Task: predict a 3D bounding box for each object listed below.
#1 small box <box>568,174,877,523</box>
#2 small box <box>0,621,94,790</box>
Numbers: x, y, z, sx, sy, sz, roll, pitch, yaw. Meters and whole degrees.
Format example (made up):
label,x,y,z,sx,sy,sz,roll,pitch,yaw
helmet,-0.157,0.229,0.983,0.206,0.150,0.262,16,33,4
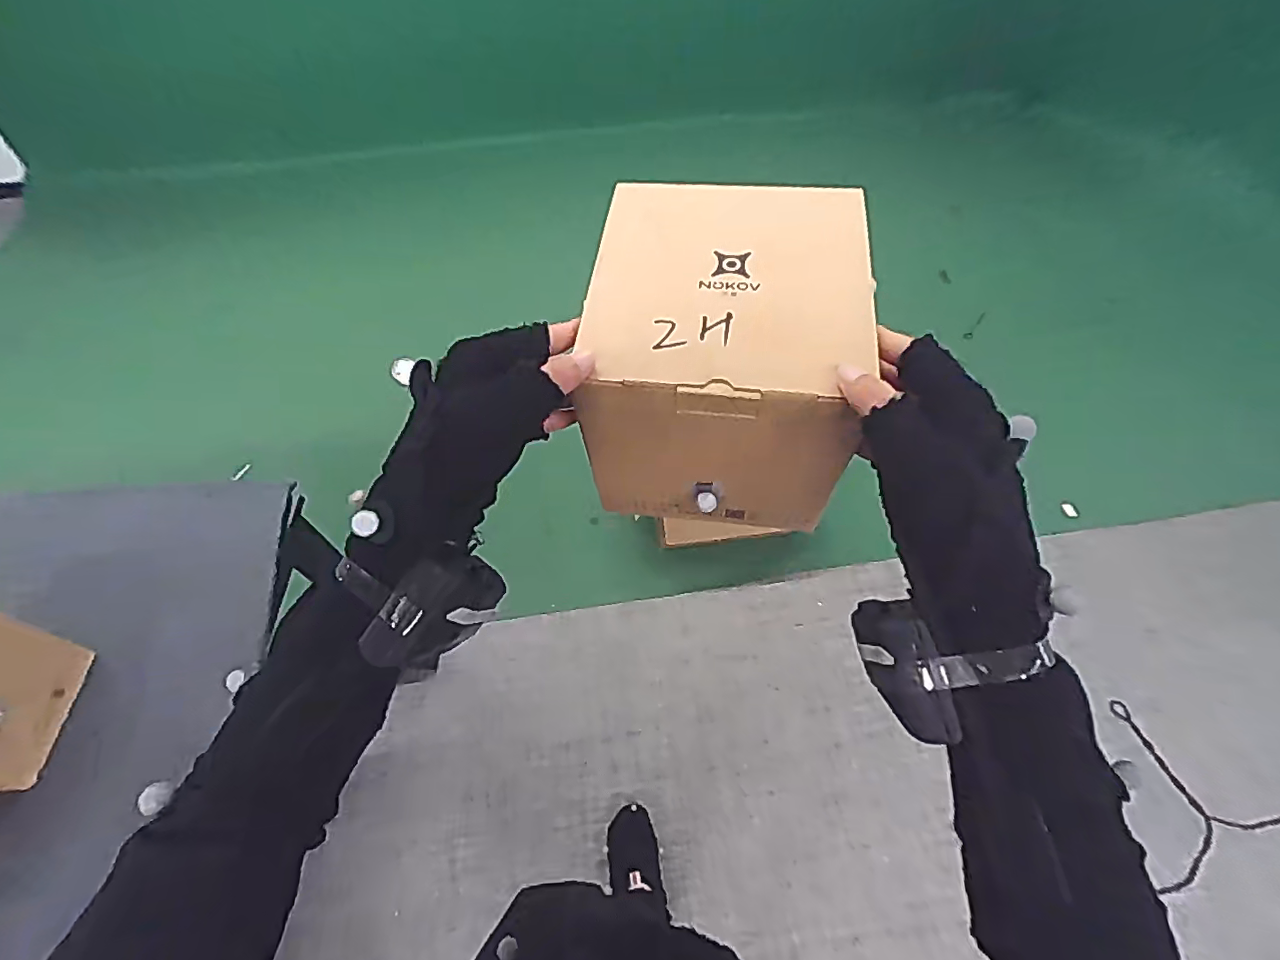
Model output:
label,x,y,z,sx,sy,sz,roll,pitch,yaw
small box,0.057,-0.088,0.392,0.168,0.176,0.179,5,62,8
small box,-0.820,0.266,0.630,0.179,0.176,0.168,-7,54,-1
